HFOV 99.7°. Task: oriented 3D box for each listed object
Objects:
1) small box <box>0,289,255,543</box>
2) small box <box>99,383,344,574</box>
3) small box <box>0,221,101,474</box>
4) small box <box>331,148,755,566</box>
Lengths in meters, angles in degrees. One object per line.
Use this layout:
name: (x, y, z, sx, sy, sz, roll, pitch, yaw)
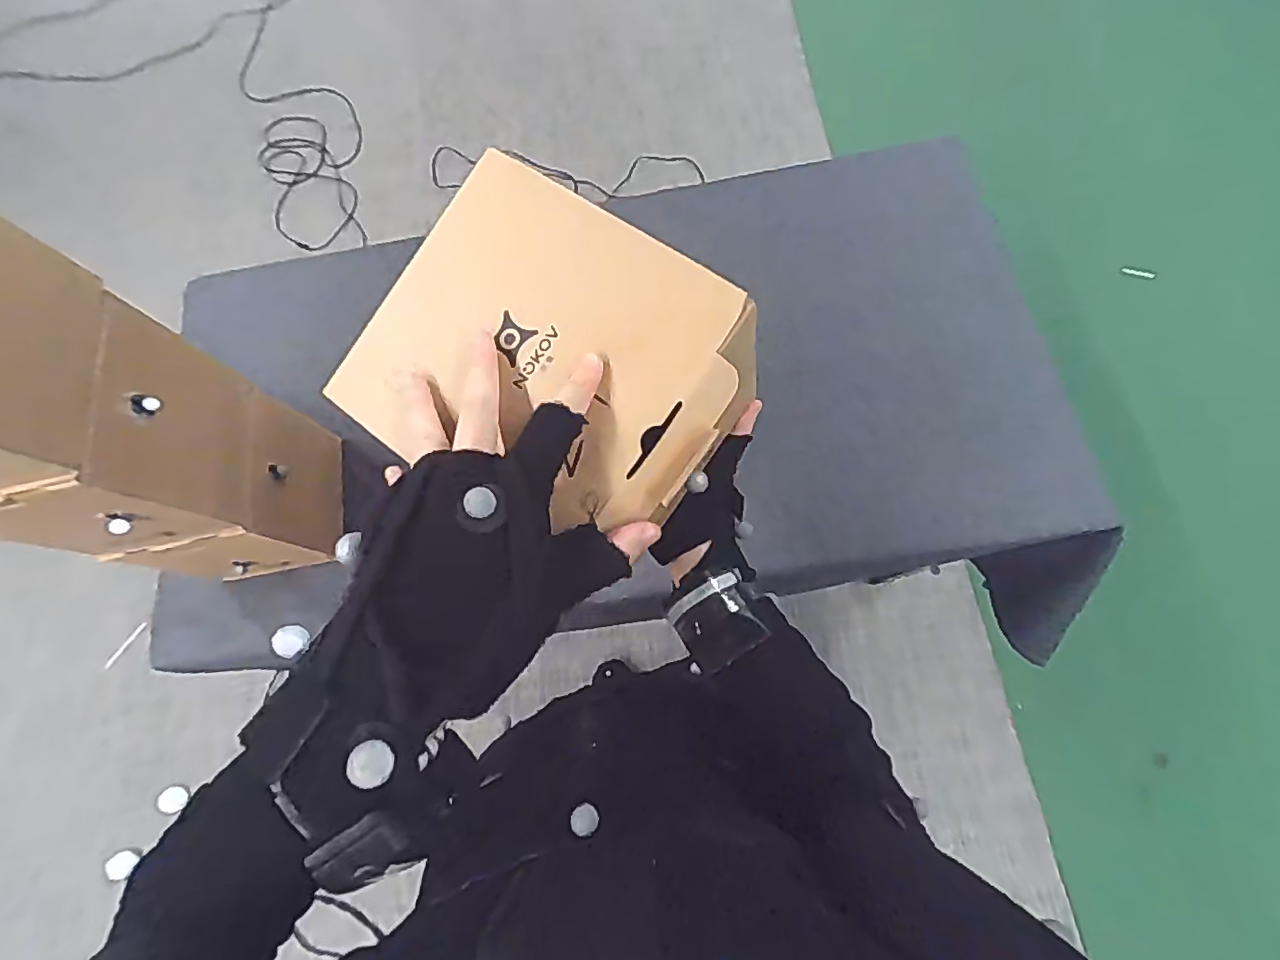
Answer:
small box: (-0.503, -0.043, 0.509, 0.168, 0.176, 0.179, -10, 72, 1)
small box: (-0.490, 0.008, 0.663, 0.168, 0.176, 0.179, -11, 73, 2)
small box: (-0.518, -0.098, 0.355, 0.168, 0.176, 0.179, -11, 72, 0)
small box: (-0.043, -0.060, 0.355, 0.179, 0.176, 0.168, 36, 92, 13)
